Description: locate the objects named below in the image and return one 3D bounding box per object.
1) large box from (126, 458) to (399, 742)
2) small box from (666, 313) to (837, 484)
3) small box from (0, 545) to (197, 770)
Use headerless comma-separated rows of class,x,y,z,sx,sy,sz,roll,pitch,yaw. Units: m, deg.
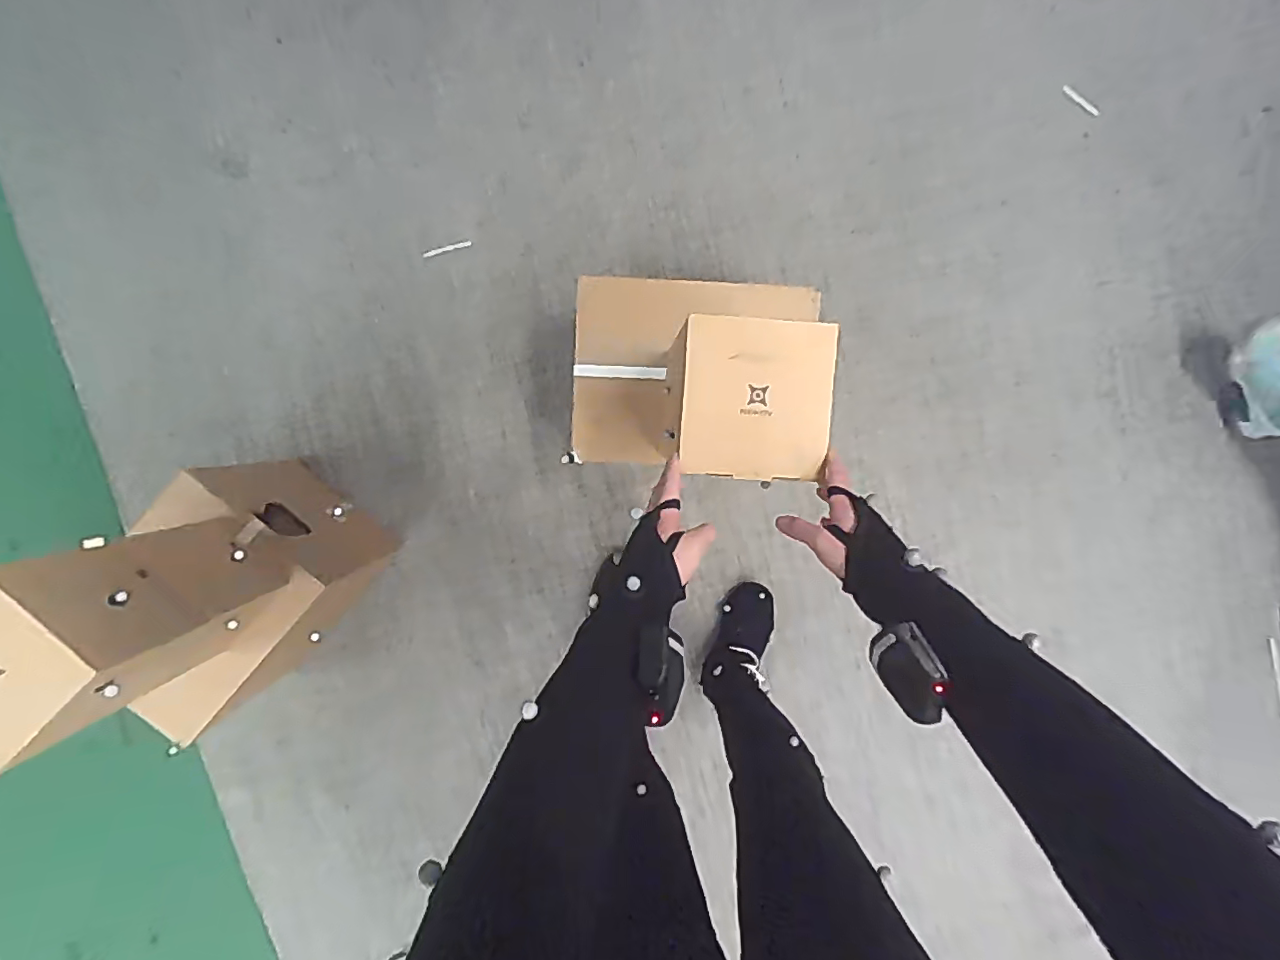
large box,-0.783,0.210,1.092,0.320,0.320,0.408,41,94,-3
small box,0.123,-0.093,0.665,0.168,0.176,0.179,4,94,-3
small box,-0.719,0.206,0.680,0.179,0.176,0.168,-44,94,3
